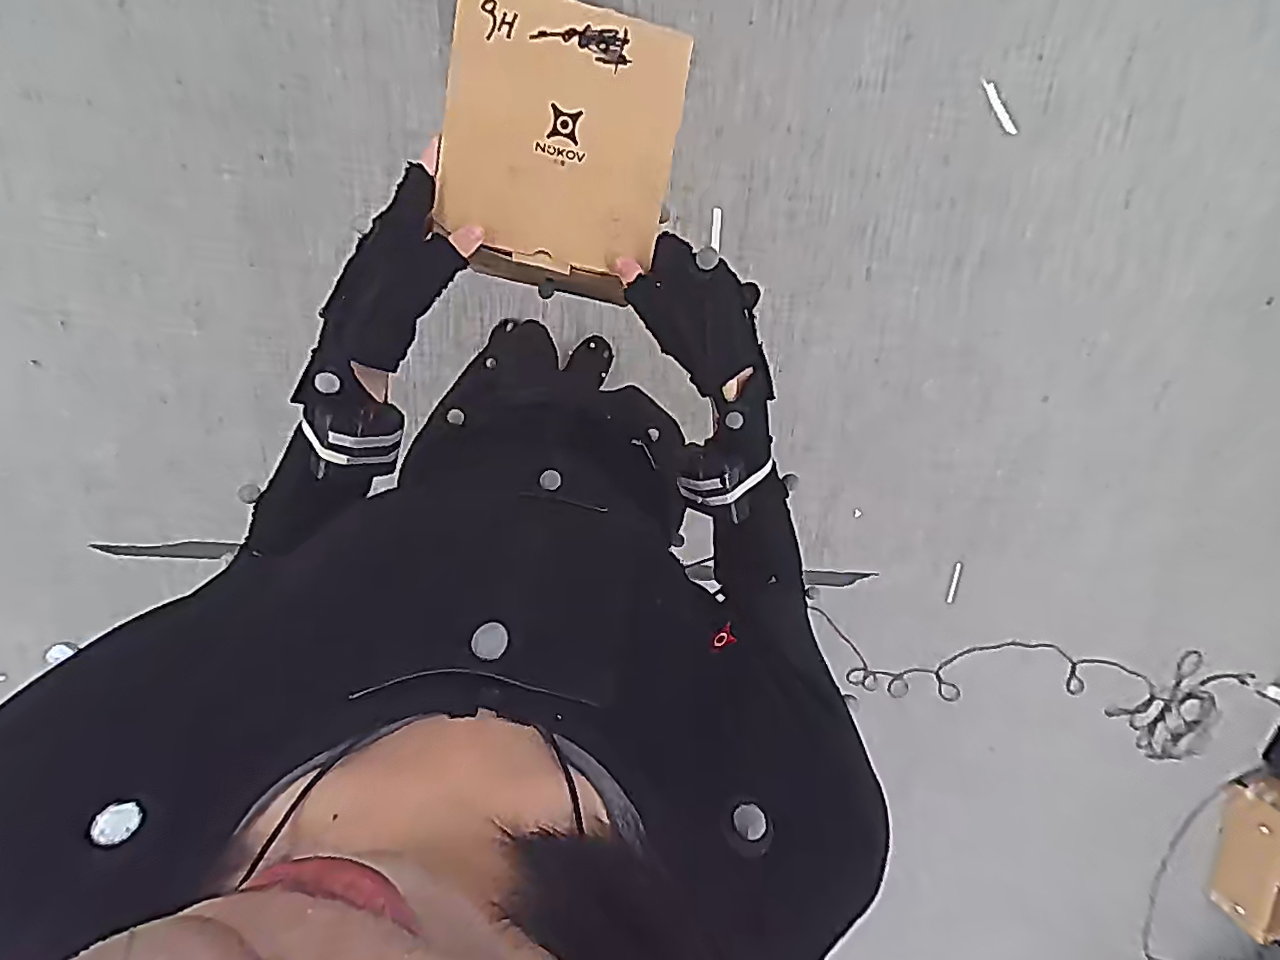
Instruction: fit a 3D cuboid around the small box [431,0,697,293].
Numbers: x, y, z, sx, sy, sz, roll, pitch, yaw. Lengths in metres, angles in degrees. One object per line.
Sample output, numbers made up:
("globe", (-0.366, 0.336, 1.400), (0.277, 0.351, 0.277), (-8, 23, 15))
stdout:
("small box", (-0.062, -0.269, 0.460), (0.168, 0.176, 0.179), (10, 102, -8))
